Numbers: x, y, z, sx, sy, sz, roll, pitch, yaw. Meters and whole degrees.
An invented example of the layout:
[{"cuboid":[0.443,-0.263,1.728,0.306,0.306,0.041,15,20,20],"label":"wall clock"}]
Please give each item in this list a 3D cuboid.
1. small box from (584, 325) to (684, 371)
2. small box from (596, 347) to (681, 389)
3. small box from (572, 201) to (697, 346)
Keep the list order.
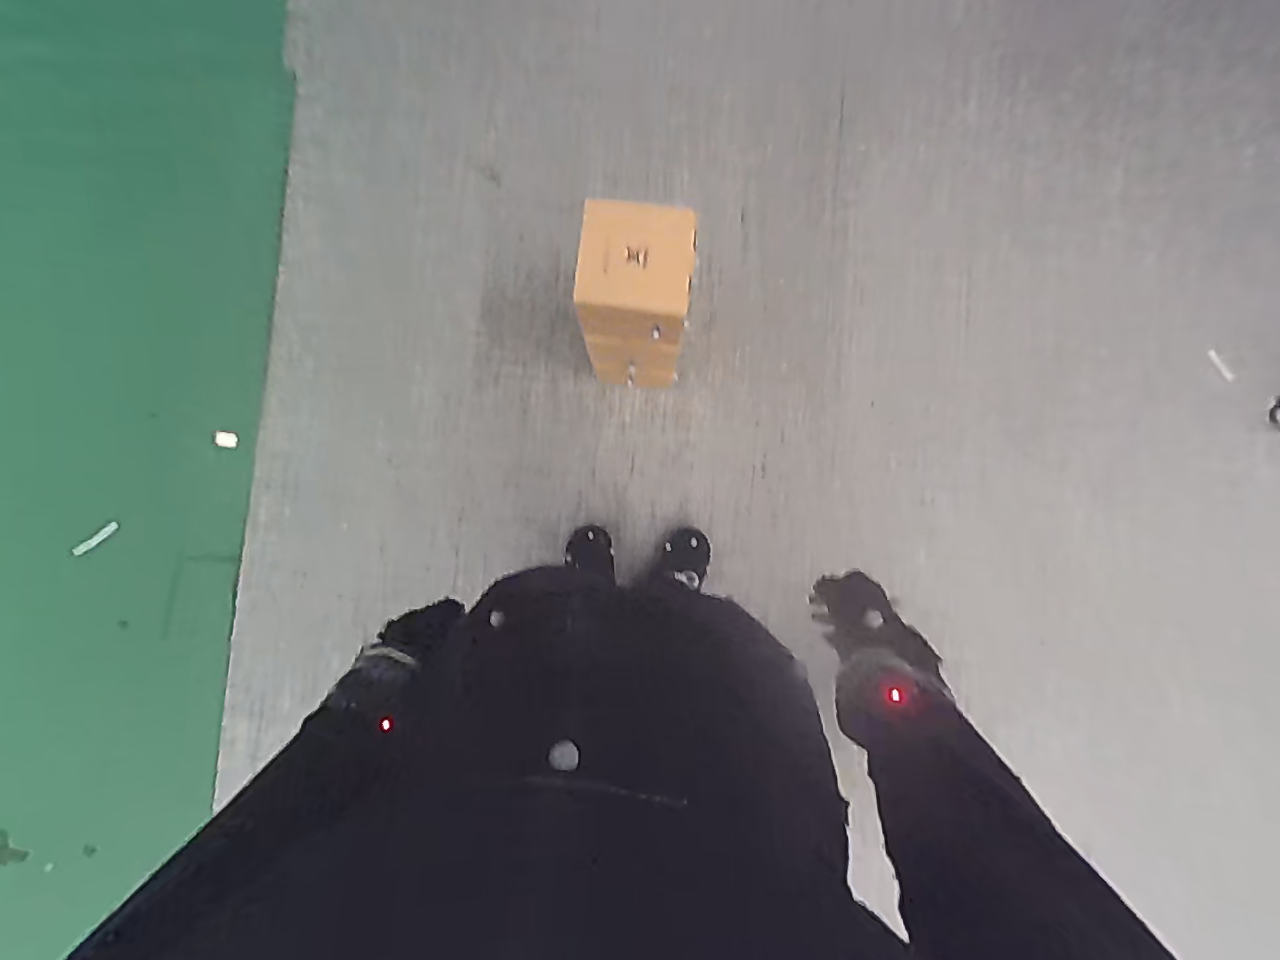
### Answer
[{"cuboid":[-0.005,-0.319,1.057,0.179,0.176,0.168,8,88,0],"label":"small box"},{"cuboid":[-0.001,-0.306,1.220,0.179,0.176,0.168,5,88,-1],"label":"small box"},{"cuboid":[-0.007,-0.329,0.895,0.179,0.176,0.168,6,87,1],"label":"small box"}]
